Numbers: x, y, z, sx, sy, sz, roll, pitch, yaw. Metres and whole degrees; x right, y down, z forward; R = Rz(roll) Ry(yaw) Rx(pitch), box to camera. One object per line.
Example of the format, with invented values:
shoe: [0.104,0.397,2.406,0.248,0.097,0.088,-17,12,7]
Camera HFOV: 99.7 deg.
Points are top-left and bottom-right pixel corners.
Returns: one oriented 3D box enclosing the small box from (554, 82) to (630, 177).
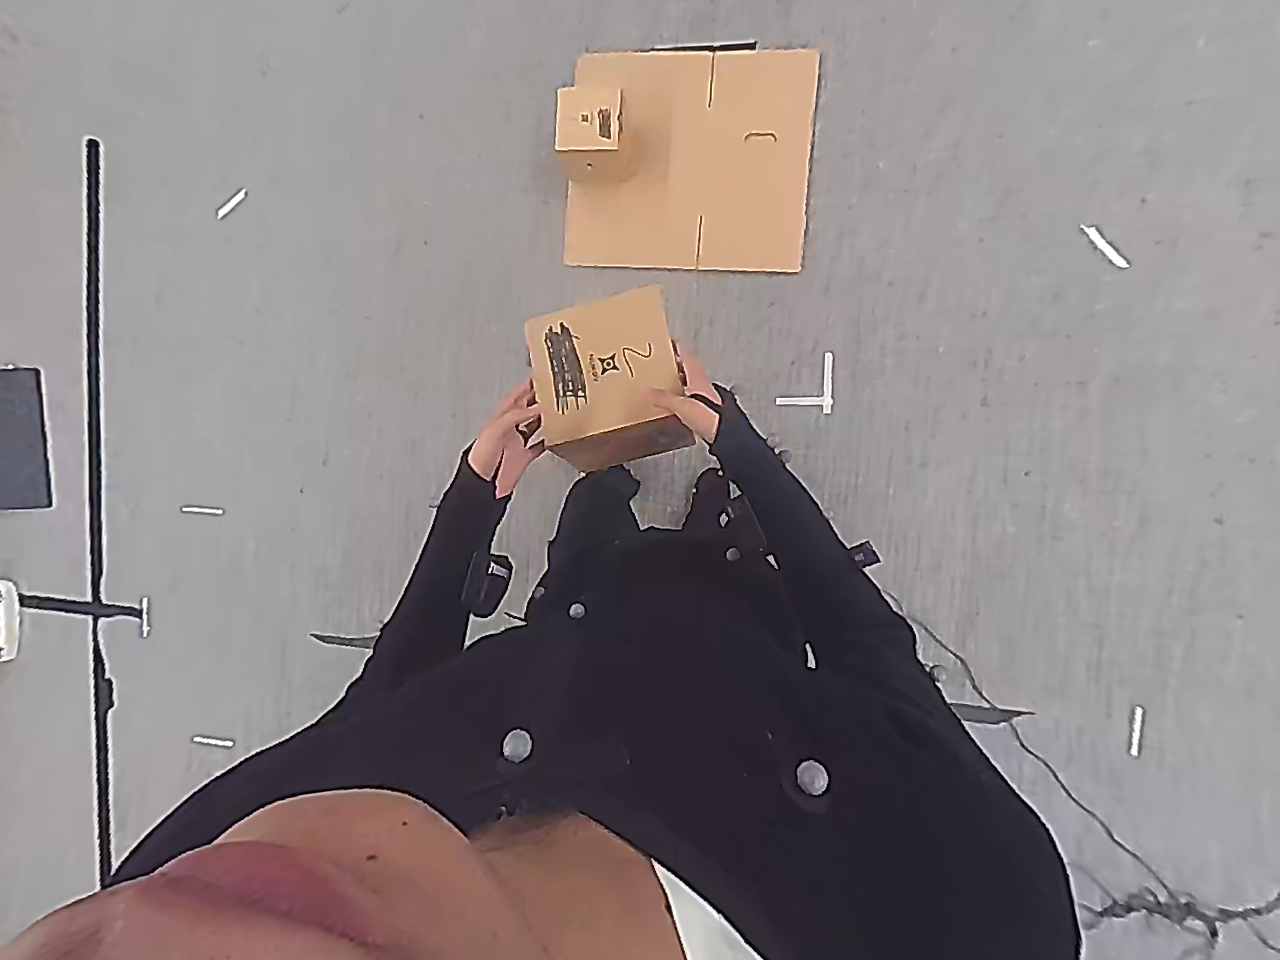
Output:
small box: [-0.127,-0.965,1.501,0.179,0.176,0.168,5,94,8]
